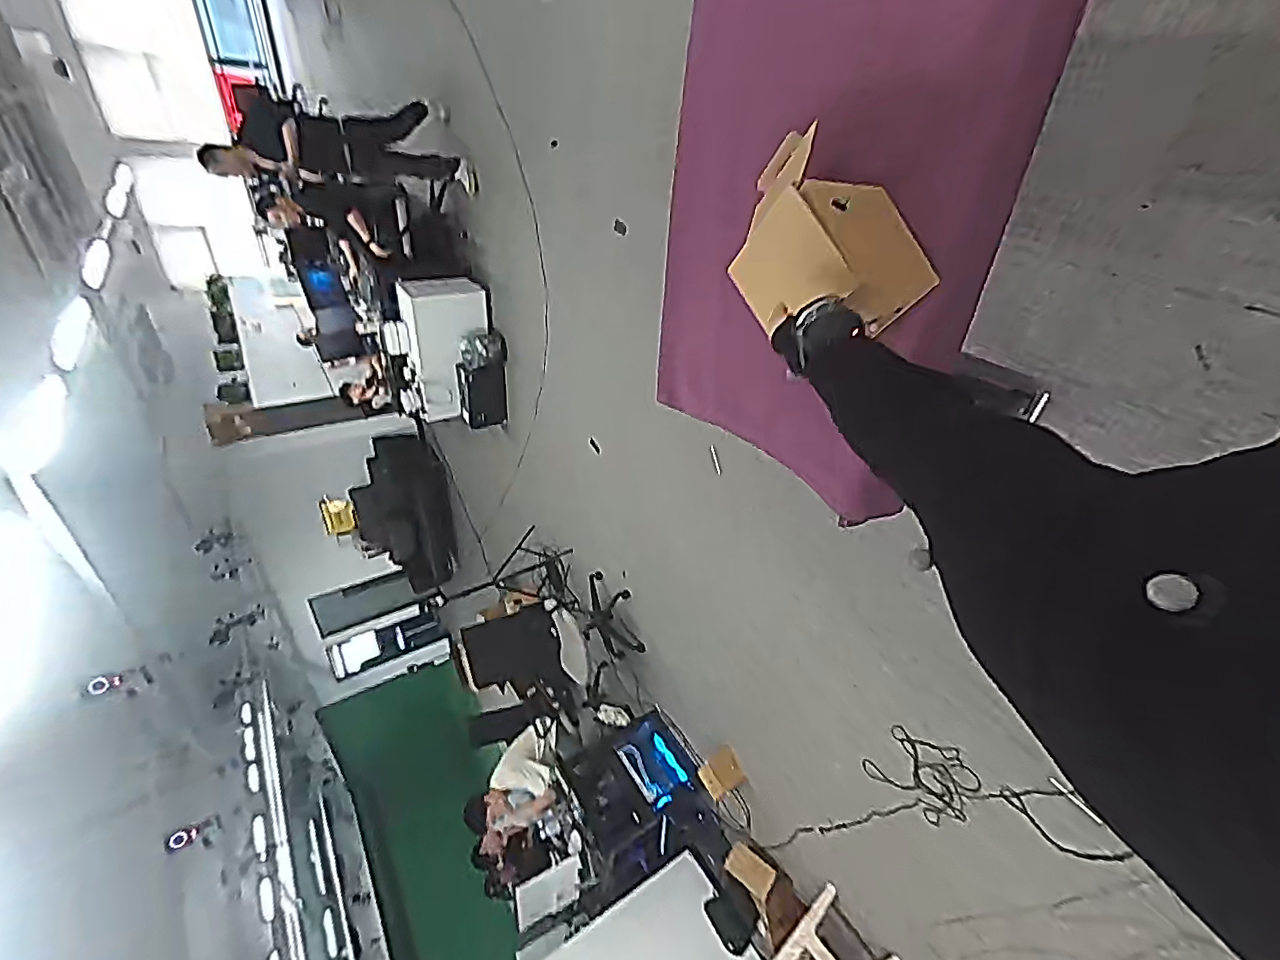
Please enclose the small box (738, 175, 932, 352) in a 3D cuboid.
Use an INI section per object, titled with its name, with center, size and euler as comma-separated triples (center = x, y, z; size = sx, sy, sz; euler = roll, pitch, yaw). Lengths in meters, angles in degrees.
[small box]
center = 0.281, -0.310, 0.797
size = 0.168, 0.176, 0.179
euler = -48, 59, 58
